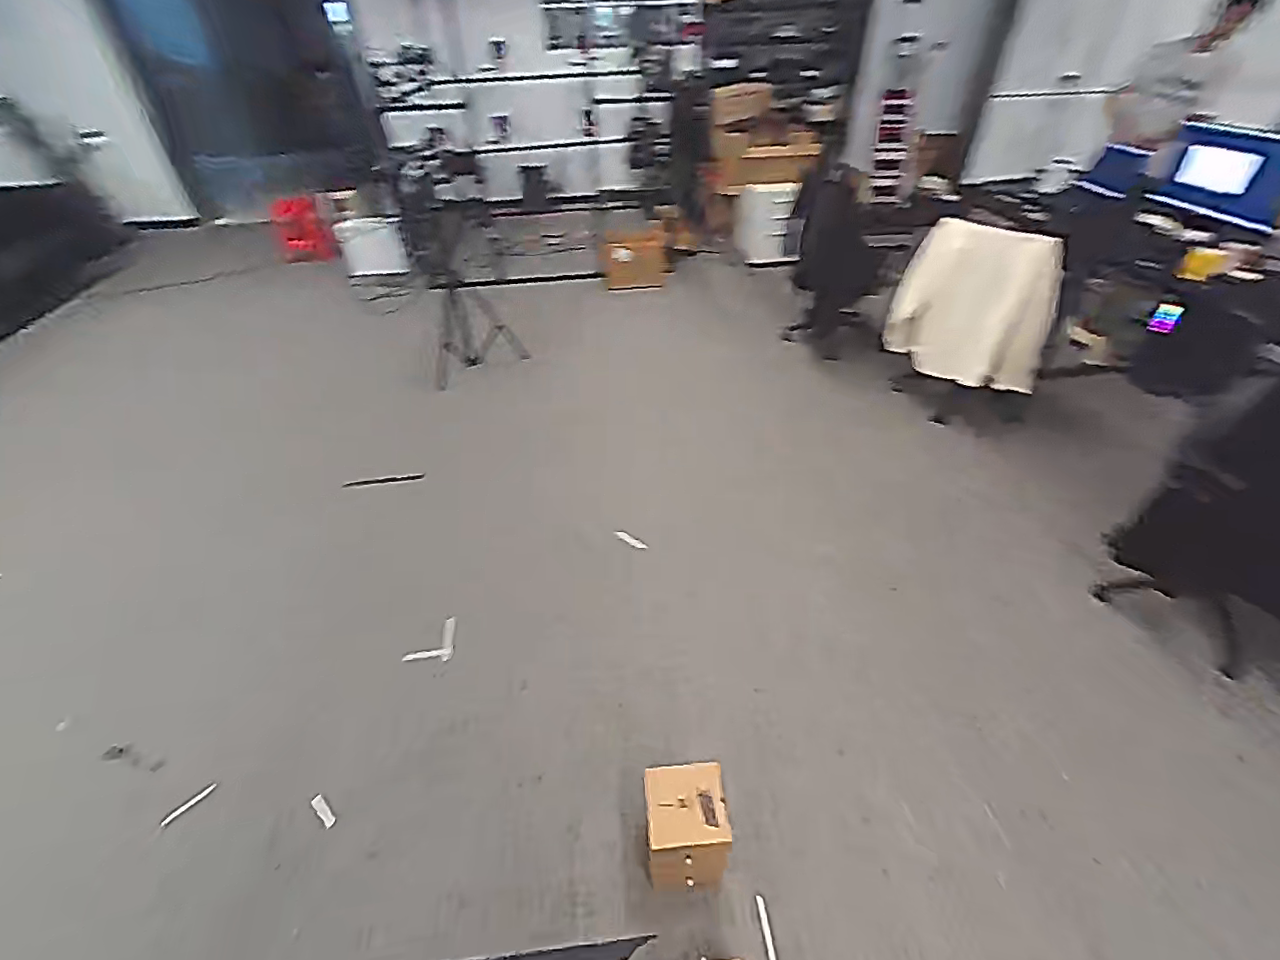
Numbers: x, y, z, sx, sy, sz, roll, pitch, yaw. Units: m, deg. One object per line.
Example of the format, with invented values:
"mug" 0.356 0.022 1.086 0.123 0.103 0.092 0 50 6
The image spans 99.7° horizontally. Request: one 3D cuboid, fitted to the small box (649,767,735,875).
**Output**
"small box" 0.113 0.788 1.250 0.179 0.176 0.168 -4 40 -2
